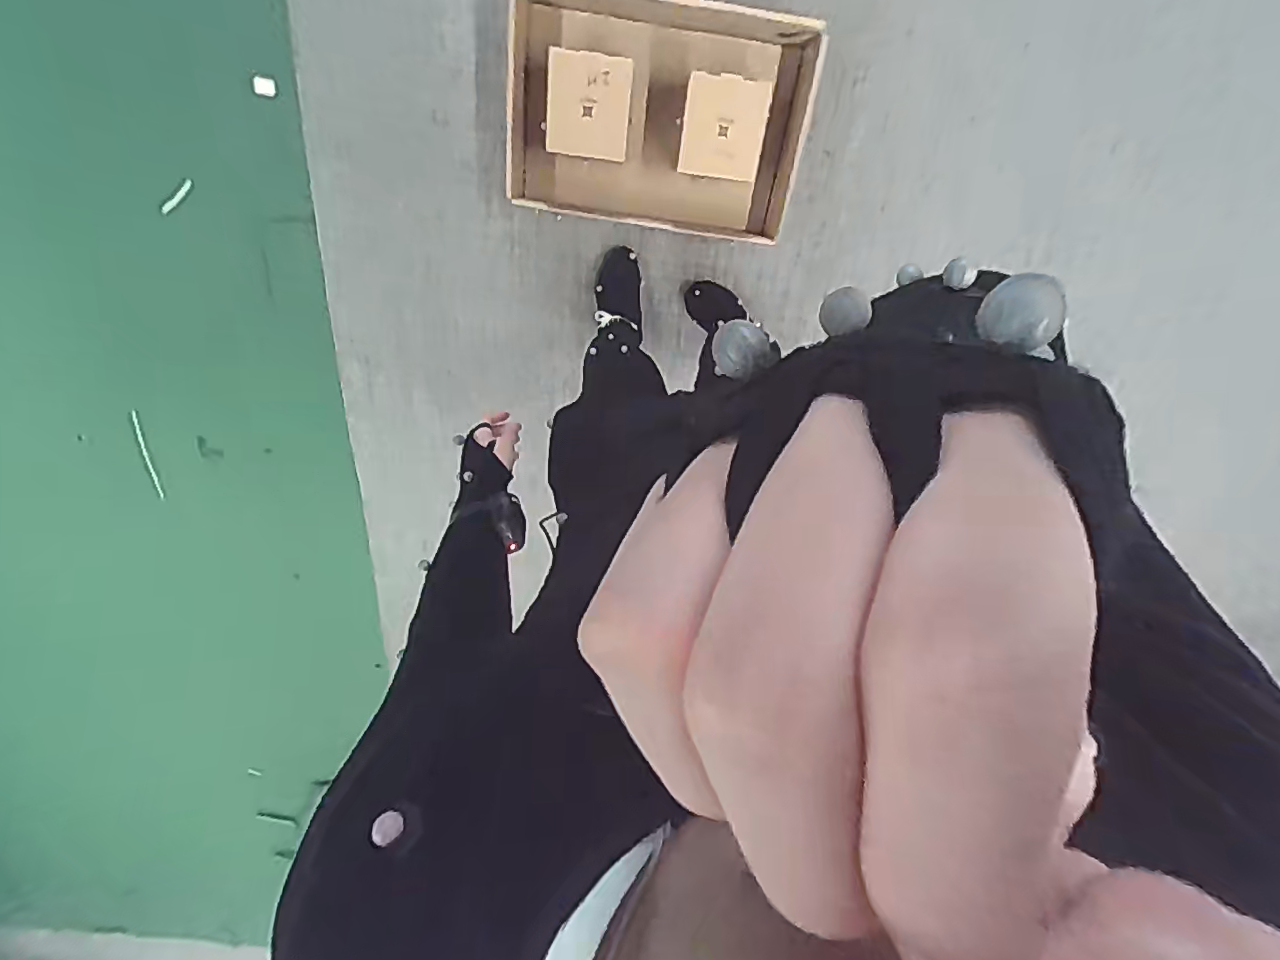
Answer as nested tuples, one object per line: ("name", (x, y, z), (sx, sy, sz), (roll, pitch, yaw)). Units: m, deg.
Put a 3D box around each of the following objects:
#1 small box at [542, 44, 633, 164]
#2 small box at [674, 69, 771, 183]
("small box", (-0.107, -0.780, 1.141), (0.168, 0.176, 0.179), (7, 117, -4))
("small box", (0.166, -0.747, 1.158), (0.168, 0.176, 0.179), (8, 119, -2))
